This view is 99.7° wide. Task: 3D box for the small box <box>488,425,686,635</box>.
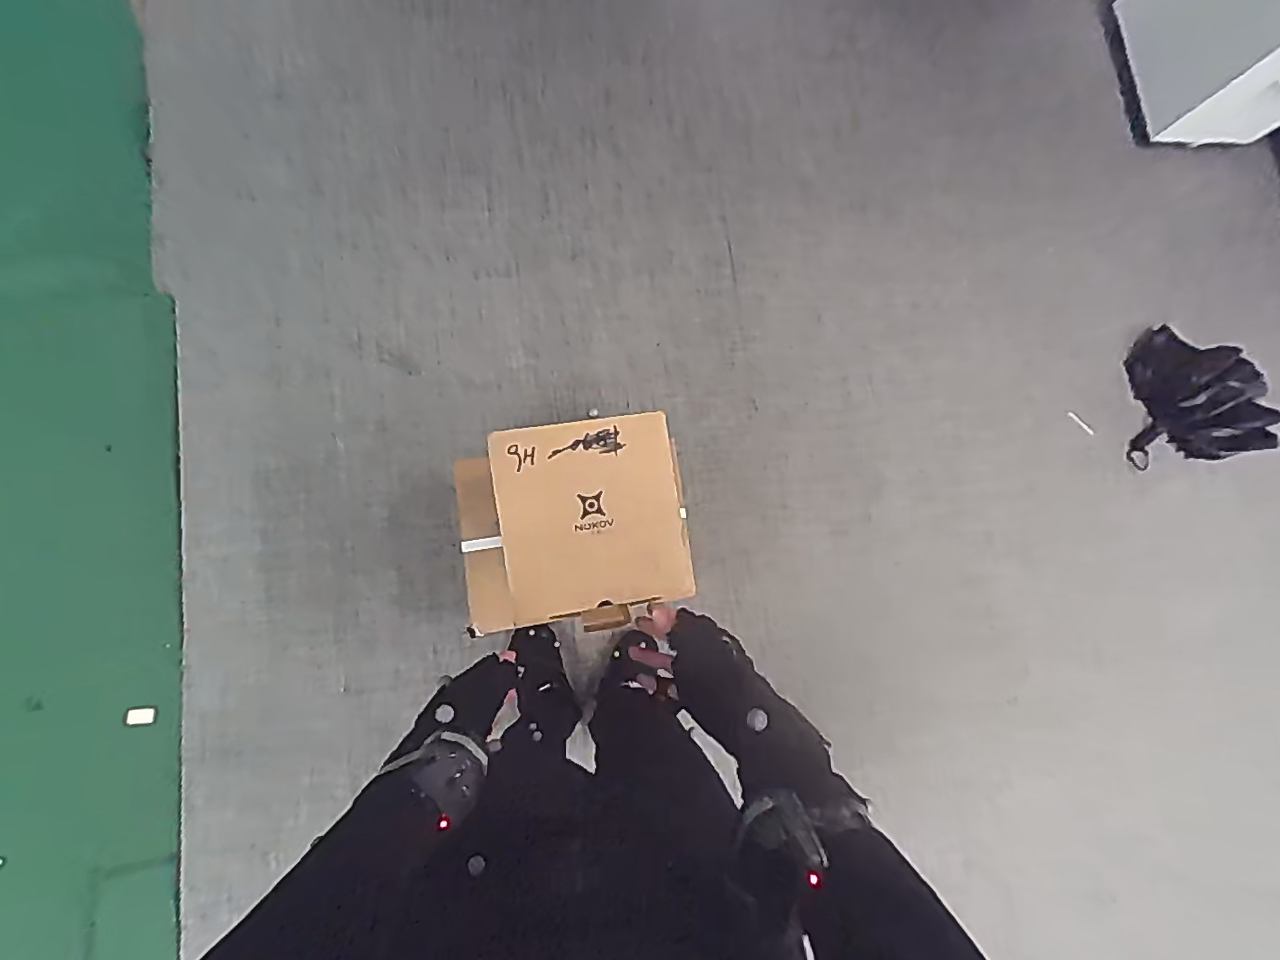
[{"bbox_3d":[-0.060,0.047,0.576,0.168,0.176,0.179,-8,88,-11],"label":"small box"}]
